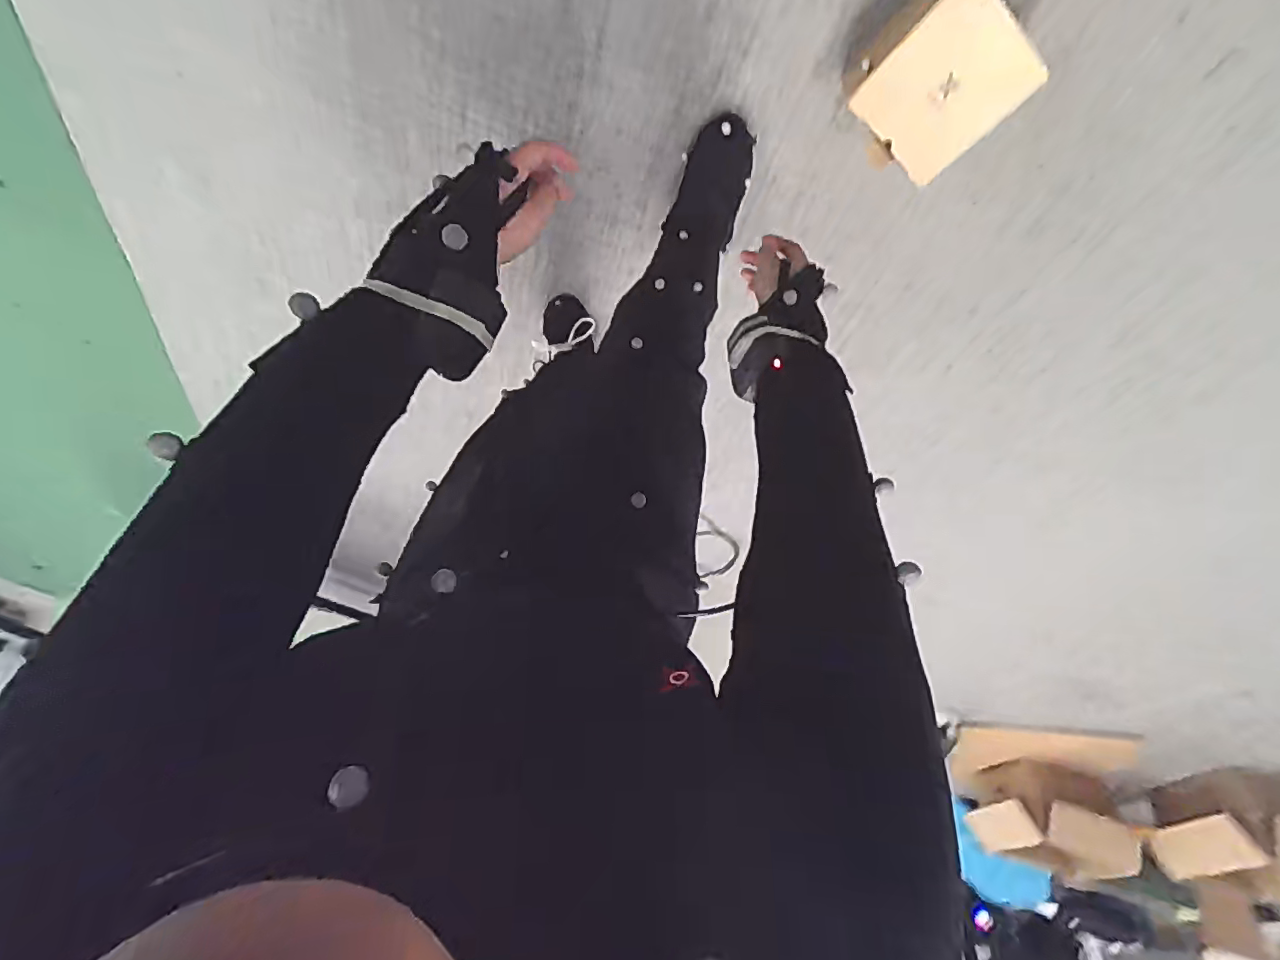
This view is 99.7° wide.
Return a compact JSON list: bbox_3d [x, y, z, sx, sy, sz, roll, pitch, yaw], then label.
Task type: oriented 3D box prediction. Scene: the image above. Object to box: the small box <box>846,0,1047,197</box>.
[{"bbox_3d":[0.408,-0.547,0.752,0.168,0.176,0.179,35,135,-19],"label":"small box"}]
